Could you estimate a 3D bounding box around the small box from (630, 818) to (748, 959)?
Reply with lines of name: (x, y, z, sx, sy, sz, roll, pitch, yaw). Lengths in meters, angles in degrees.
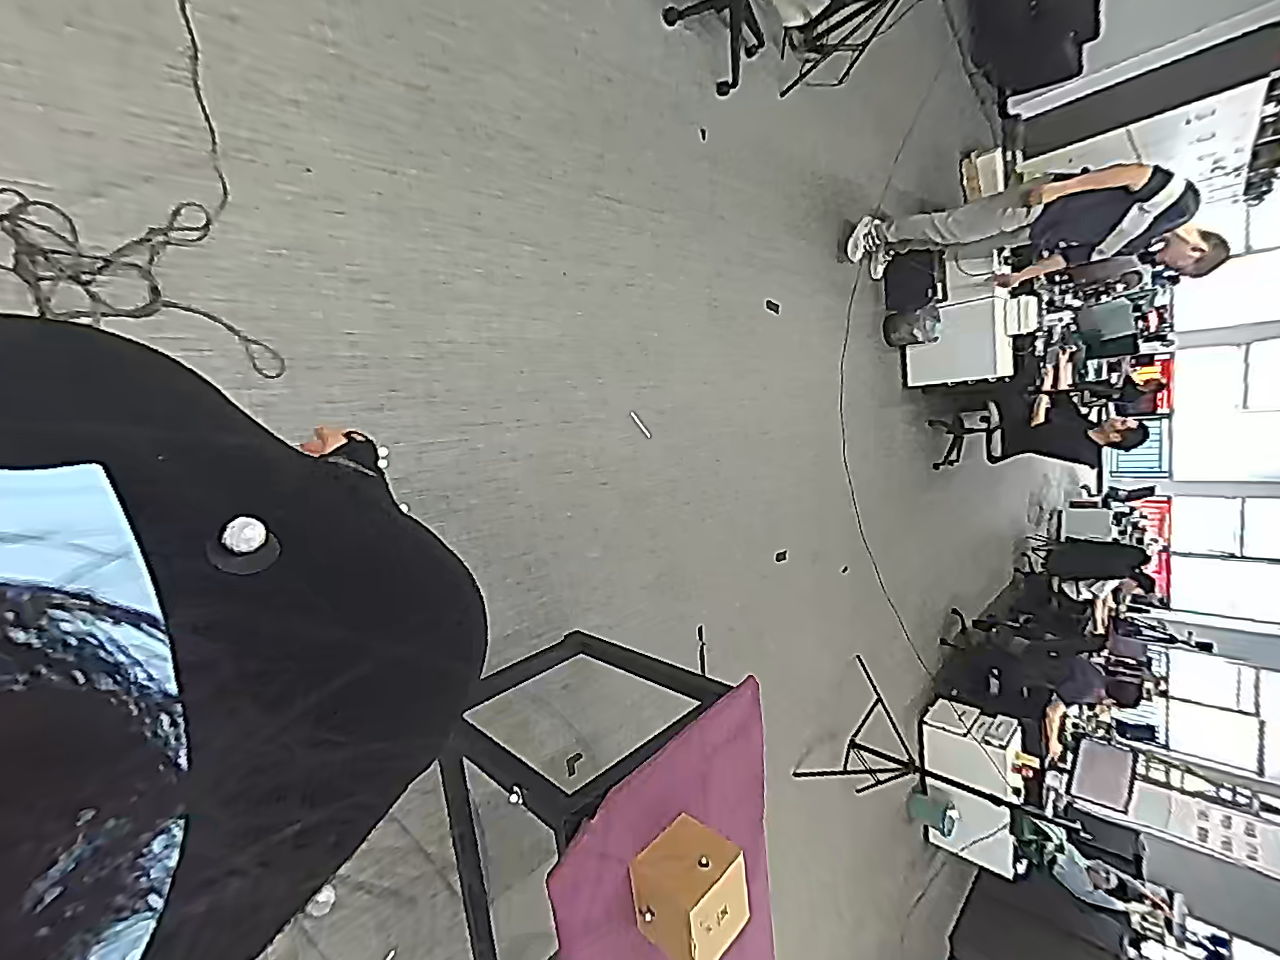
small box: (0.103, 0.855, 1.126, 0.179, 0.176, 0.168, -16, 103, -42)
